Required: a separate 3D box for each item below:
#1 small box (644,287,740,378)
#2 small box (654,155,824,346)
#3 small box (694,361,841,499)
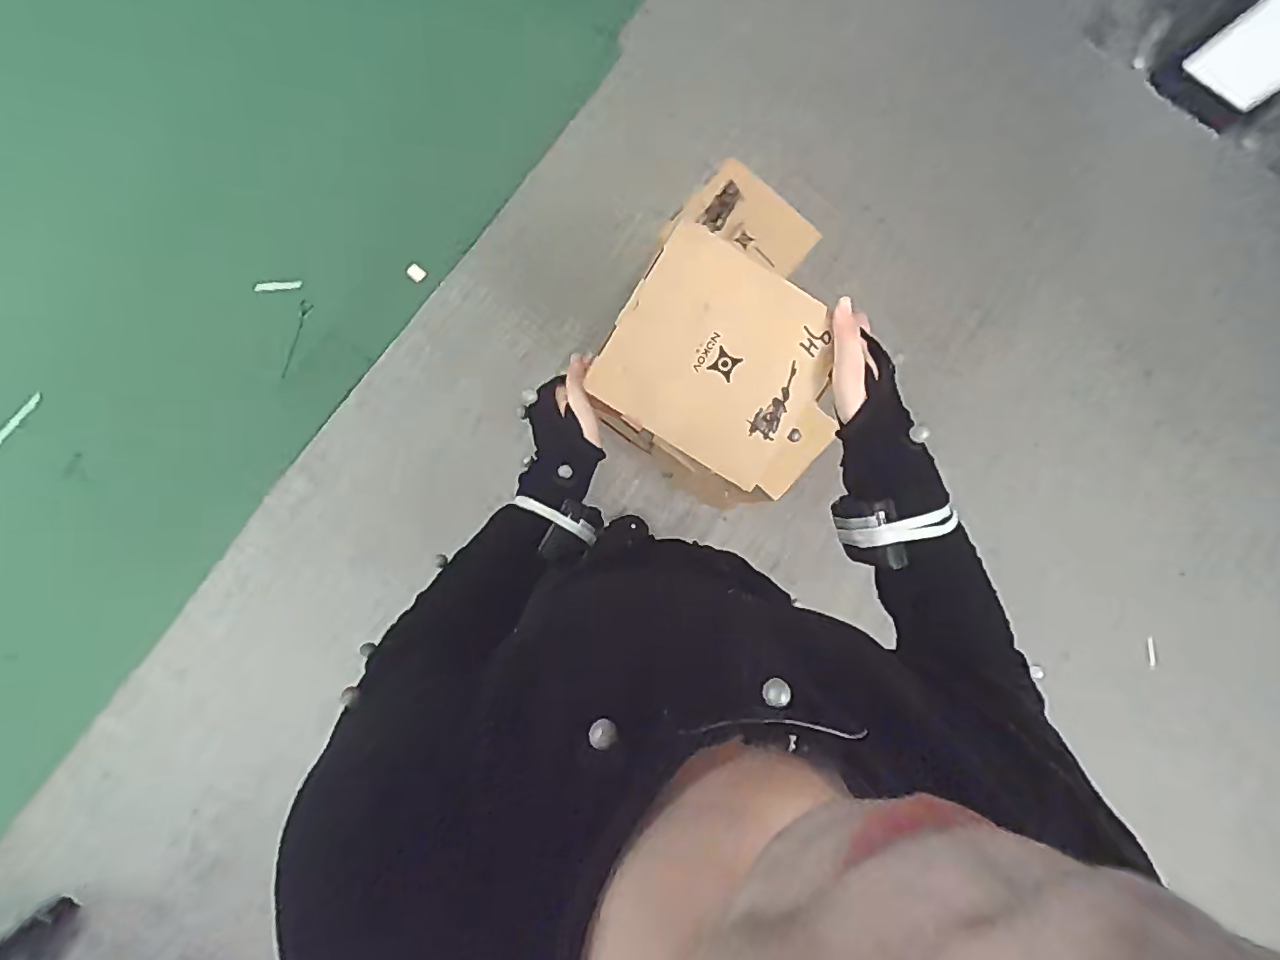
[{"bbox_3d":[0.120,-0.318,0.997,0.168,0.176,0.179,37,84,0],"label":"small box"},{"bbox_3d":[0.138,-0.338,0.834,0.179,0.176,0.168,42,84,0],"label":"small box"},{"bbox_3d":[0.219,-0.082,0.984,0.168,0.176,0.179,45,84,0],"label":"small box"}]
